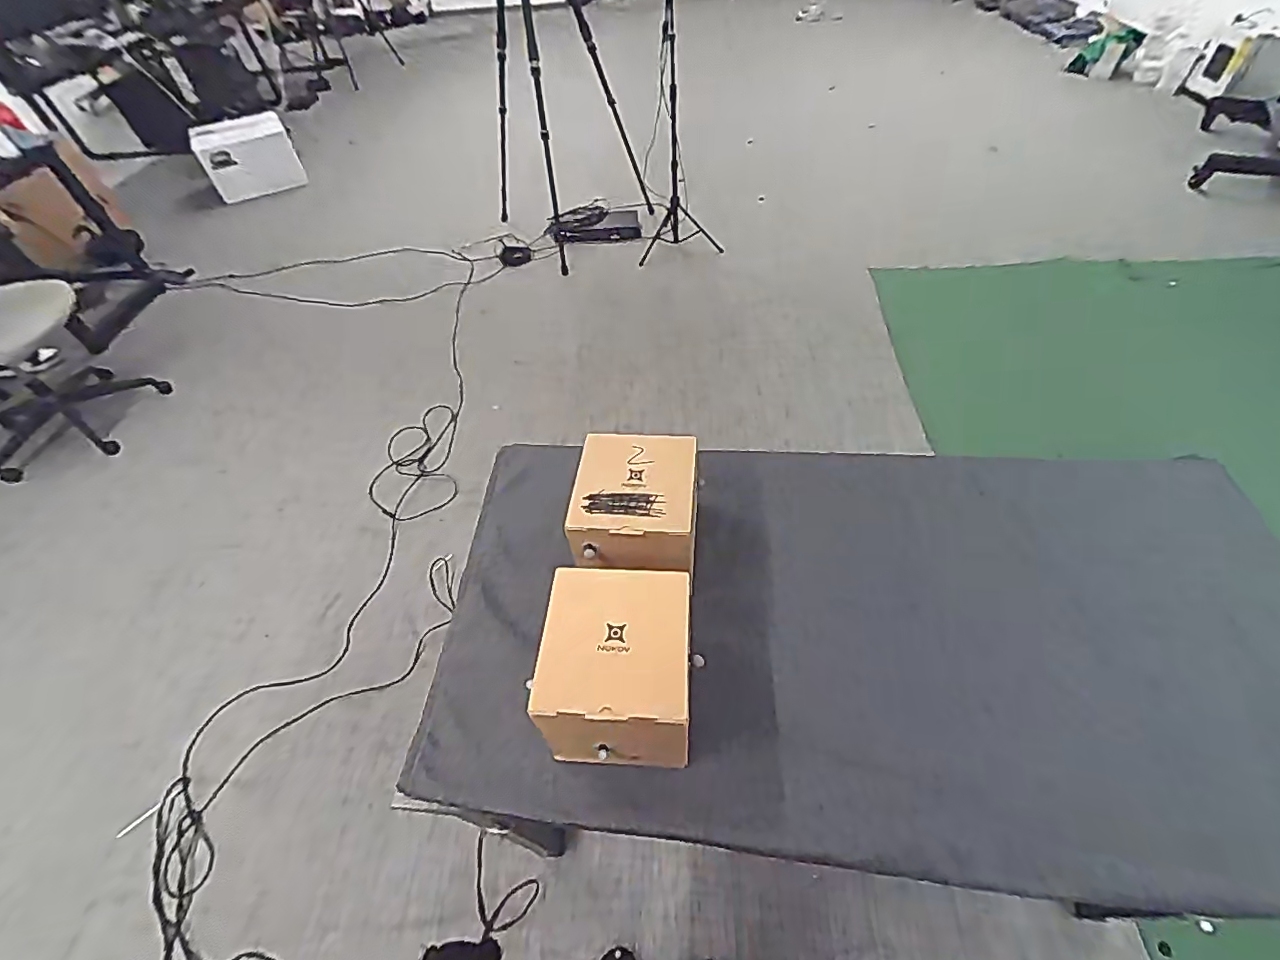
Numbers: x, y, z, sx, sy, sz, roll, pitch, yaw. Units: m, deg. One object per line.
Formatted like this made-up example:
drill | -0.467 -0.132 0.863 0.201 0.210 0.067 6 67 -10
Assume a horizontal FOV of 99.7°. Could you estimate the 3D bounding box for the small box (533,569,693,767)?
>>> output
small box | -0.022 0.231 0.667 0.168 0.176 0.179 1 49 5
